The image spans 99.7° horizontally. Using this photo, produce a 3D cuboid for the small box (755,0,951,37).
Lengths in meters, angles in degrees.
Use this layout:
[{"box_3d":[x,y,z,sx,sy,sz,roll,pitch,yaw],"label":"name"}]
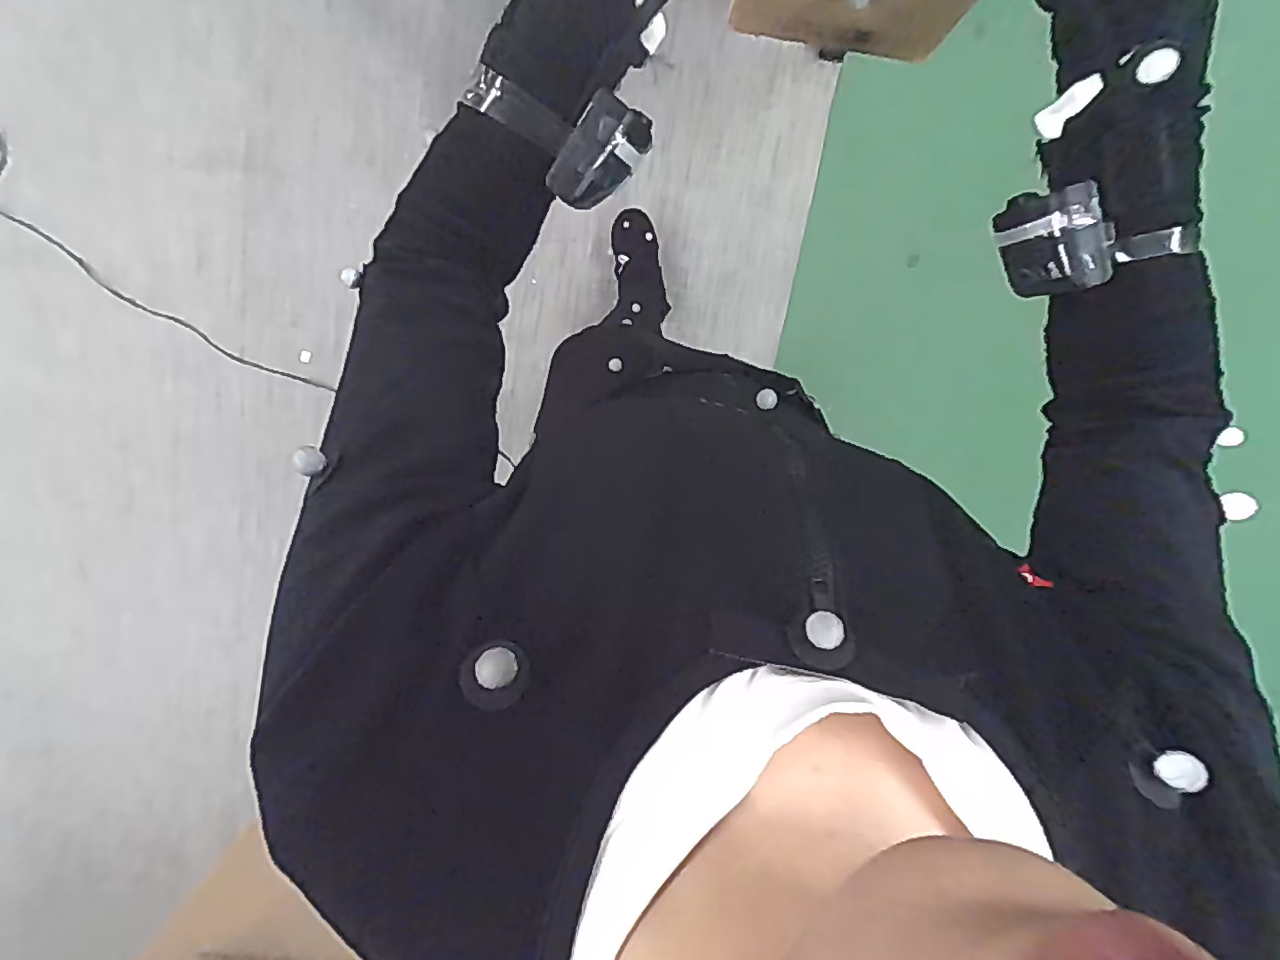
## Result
[{"box_3d":[0.163,-0.433,0.344,0.168,0.176,0.179,8,101,-2],"label":"small box"}]
